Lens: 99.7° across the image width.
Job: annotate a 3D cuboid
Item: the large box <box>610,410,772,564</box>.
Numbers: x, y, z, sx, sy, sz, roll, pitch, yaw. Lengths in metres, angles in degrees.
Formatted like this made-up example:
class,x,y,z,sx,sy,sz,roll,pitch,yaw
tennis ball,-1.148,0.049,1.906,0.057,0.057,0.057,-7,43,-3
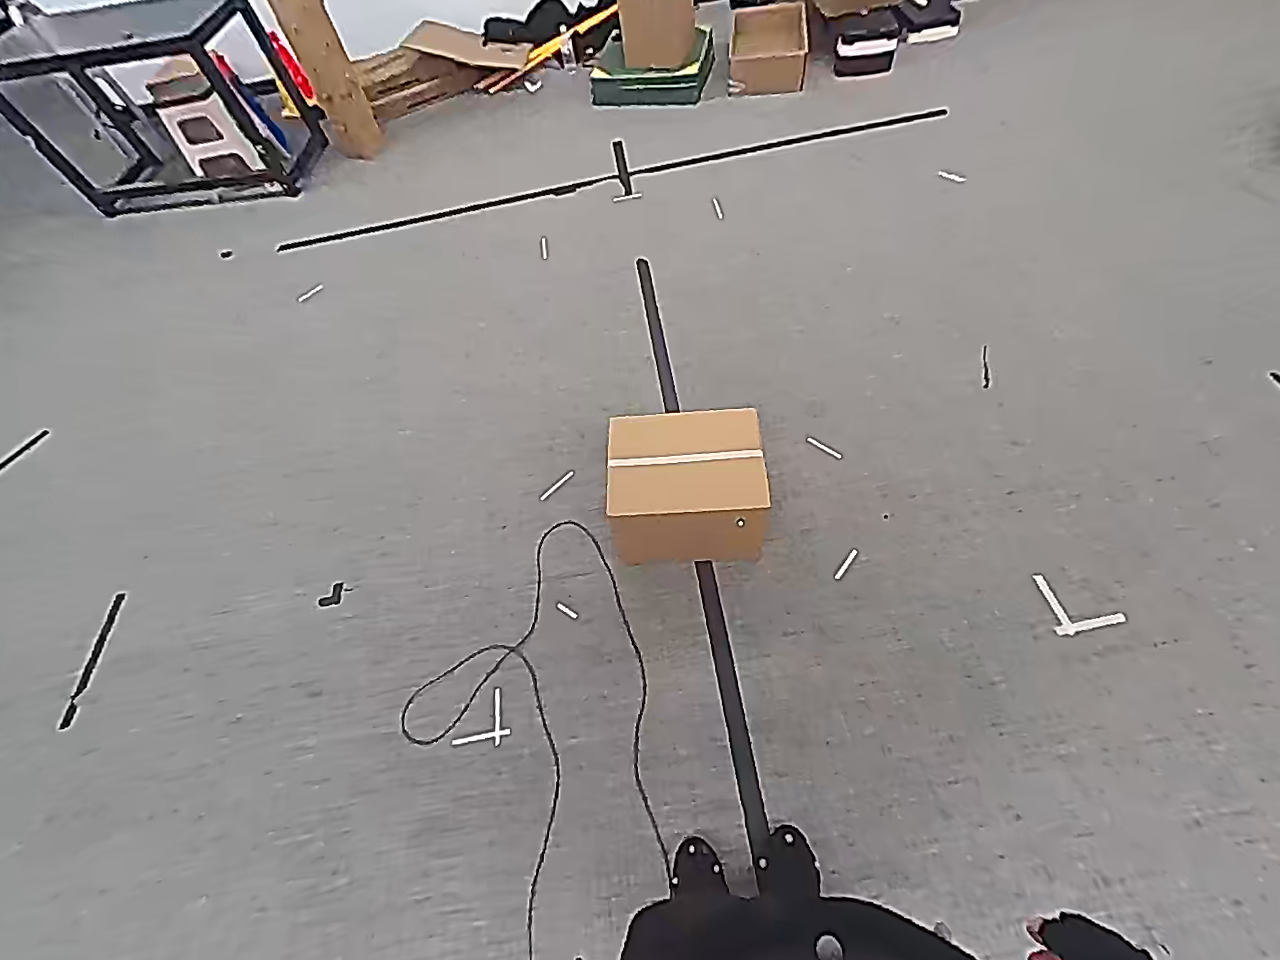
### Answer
class,x,y,z,sx,sy,sz,roll,pitch,yaw
large box,0.137,0.032,1.523,0.408,0.320,0.320,-4,58,5
